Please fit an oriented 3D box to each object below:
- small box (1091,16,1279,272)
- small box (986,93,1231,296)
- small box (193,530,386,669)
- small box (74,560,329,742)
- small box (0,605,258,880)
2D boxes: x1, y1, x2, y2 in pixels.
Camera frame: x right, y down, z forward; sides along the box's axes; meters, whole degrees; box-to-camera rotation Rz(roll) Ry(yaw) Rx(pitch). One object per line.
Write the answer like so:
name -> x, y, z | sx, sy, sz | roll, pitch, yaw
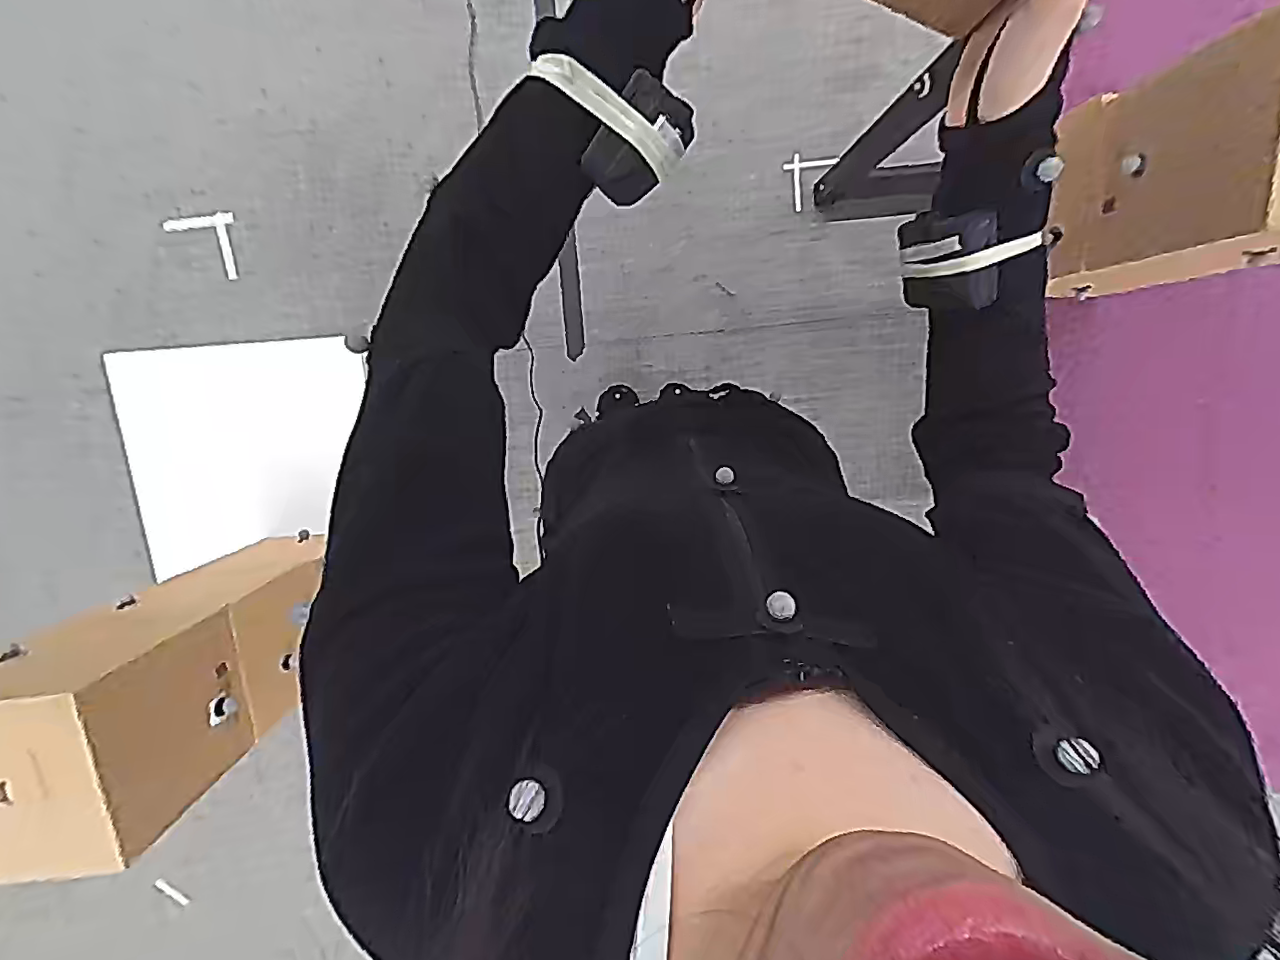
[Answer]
small box -> 0.558, -0.286, 0.475 | 0.179, 0.176, 0.168 | -2, 100, -1
small box -> 0.543, -0.317, 0.636 | 0.168, 0.176, 0.179 | -1, 100, -2
small box -> -0.522, 0.178, 0.830 | 0.179, 0.176, 0.168 | -4, 100, 0
small box -> -0.515, 0.205, 0.669 | 0.179, 0.176, 0.168 | -5, 100, 0
small box -> -0.513, 0.231, 0.508 | 0.179, 0.176, 0.168 | -6, 101, -1
